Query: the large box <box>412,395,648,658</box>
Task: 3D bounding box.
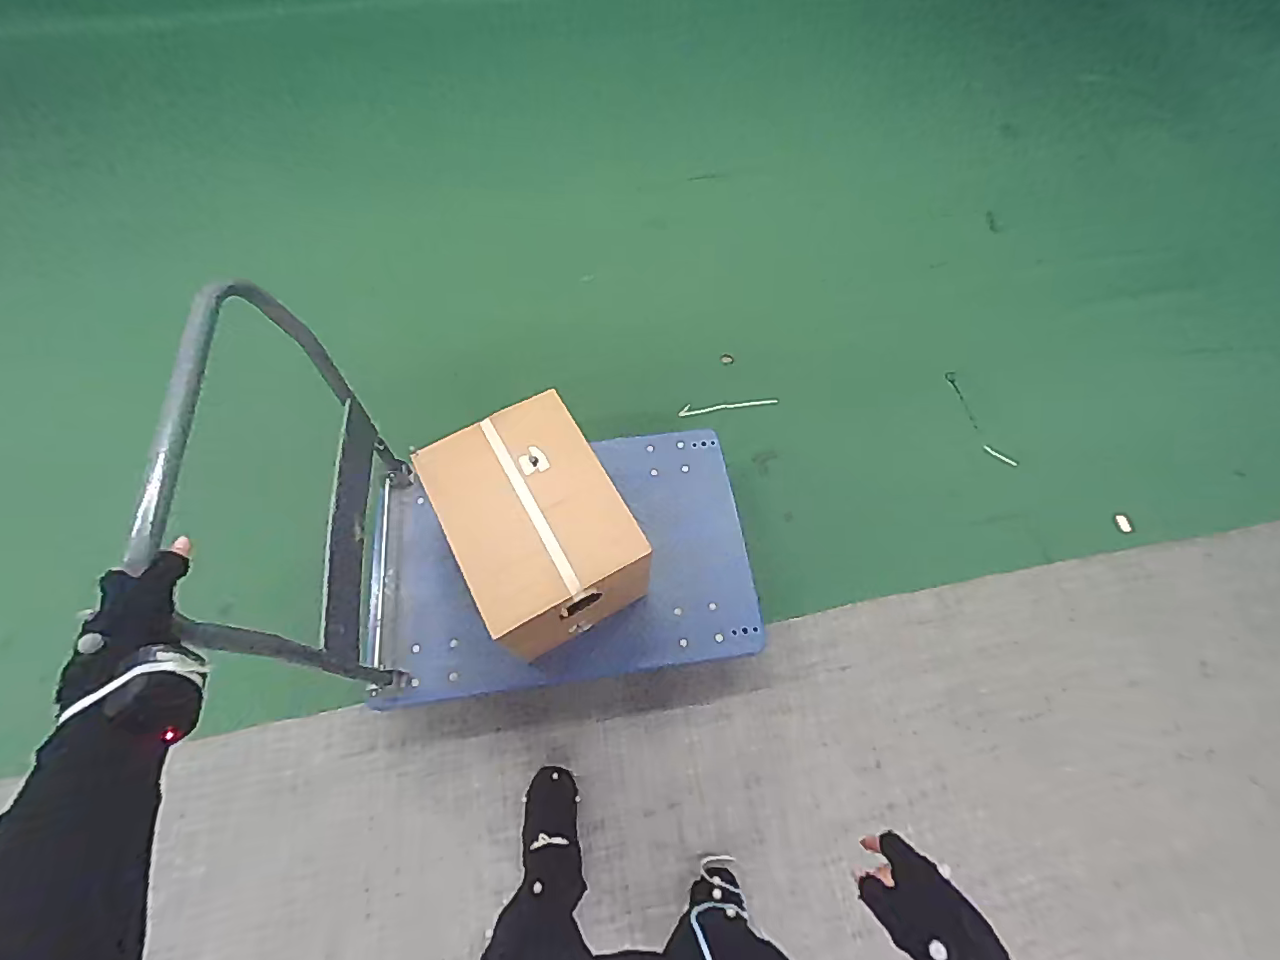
[{"bbox_3d":[-0.213,0.107,1.149,0.320,0.320,0.408,-28,67,-13],"label":"large box"}]
